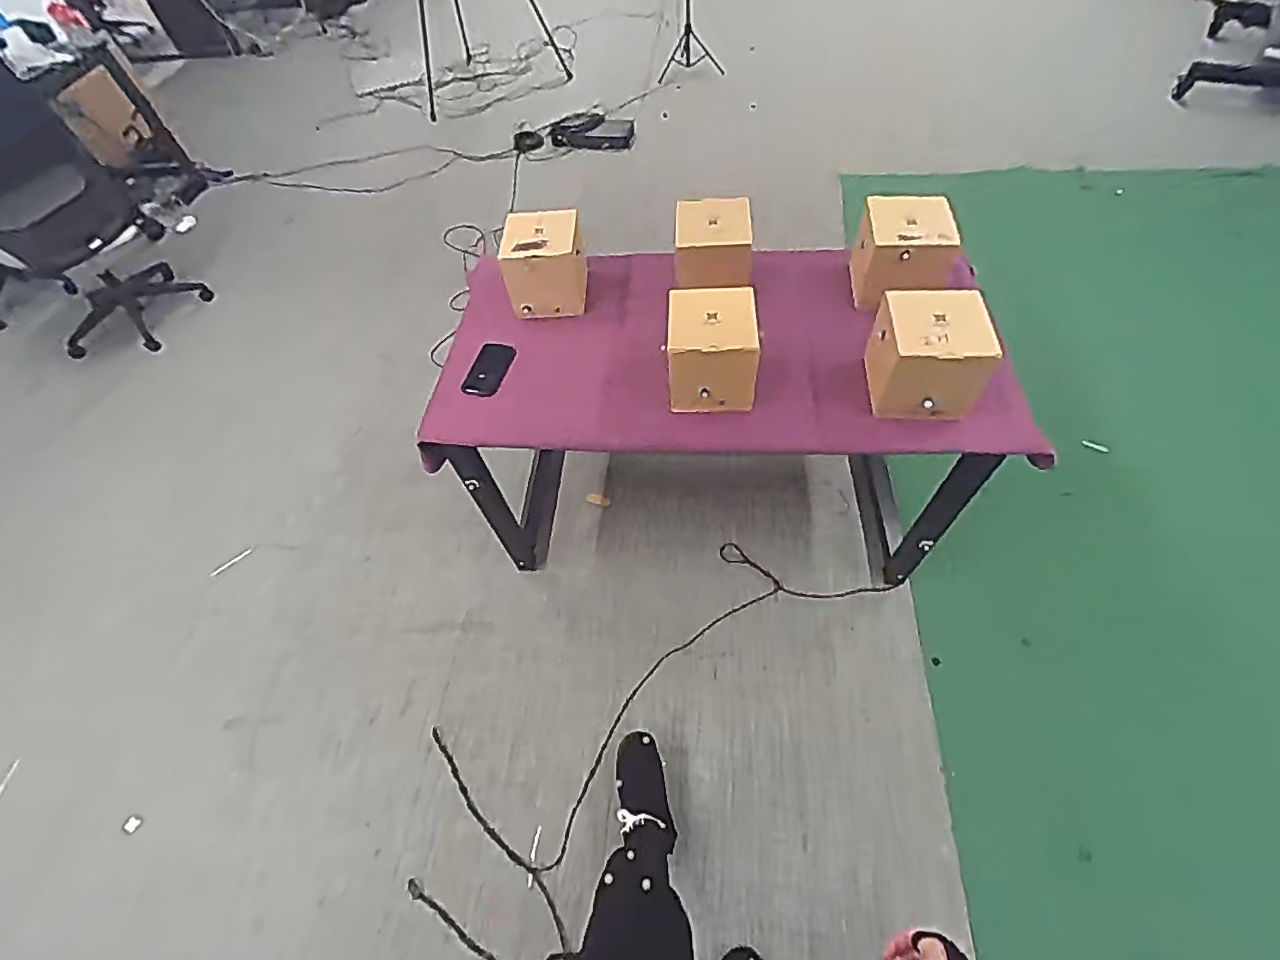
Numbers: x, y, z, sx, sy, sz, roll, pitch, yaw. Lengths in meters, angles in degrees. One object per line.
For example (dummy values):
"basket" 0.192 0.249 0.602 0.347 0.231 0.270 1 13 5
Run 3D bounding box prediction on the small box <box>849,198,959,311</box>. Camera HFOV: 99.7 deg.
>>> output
"small box" 0.569 -0.495 1.193 0.168 0.176 0.179 3 56 9

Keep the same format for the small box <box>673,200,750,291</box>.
"small box" 0.163 -0.519 1.252 0.168 0.176 0.179 0 57 7

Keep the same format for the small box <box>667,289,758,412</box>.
"small box" 0.138 -0.255 1.076 0.168 0.176 0.179 -1 56 5

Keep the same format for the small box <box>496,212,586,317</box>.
"small box" -0.225 -0.501 1.277 0.168 0.176 0.179 -2 55 4

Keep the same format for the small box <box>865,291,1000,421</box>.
"small box" 0.534 -0.233 1.016 0.168 0.176 0.179 2 56 9
